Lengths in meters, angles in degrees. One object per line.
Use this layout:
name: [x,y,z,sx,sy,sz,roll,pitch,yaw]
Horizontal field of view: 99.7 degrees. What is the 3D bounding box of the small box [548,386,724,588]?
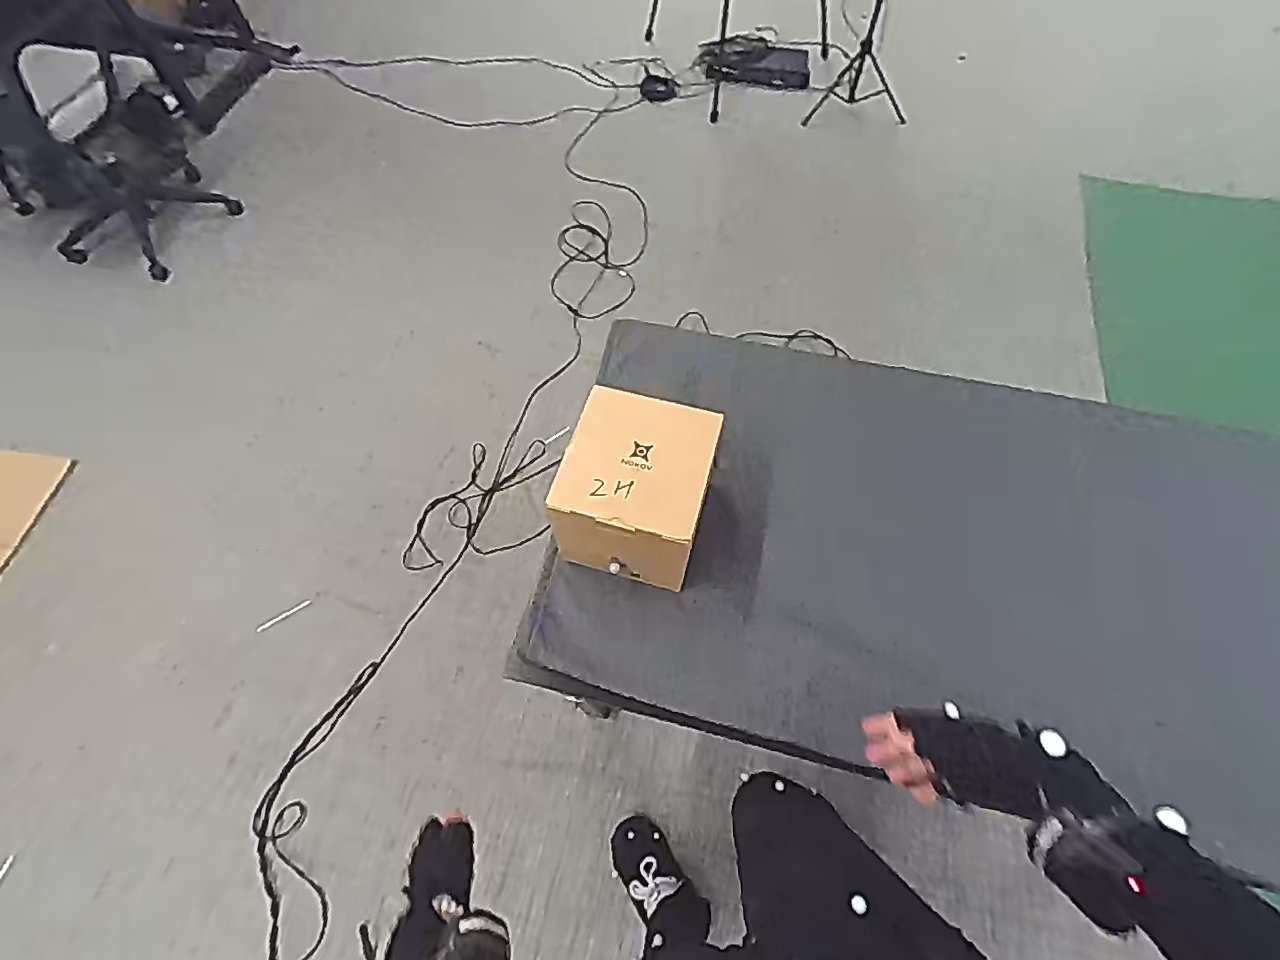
small box: [-0.001,0.013,0.686,0.168,0.176,0.179,14,62,8]
